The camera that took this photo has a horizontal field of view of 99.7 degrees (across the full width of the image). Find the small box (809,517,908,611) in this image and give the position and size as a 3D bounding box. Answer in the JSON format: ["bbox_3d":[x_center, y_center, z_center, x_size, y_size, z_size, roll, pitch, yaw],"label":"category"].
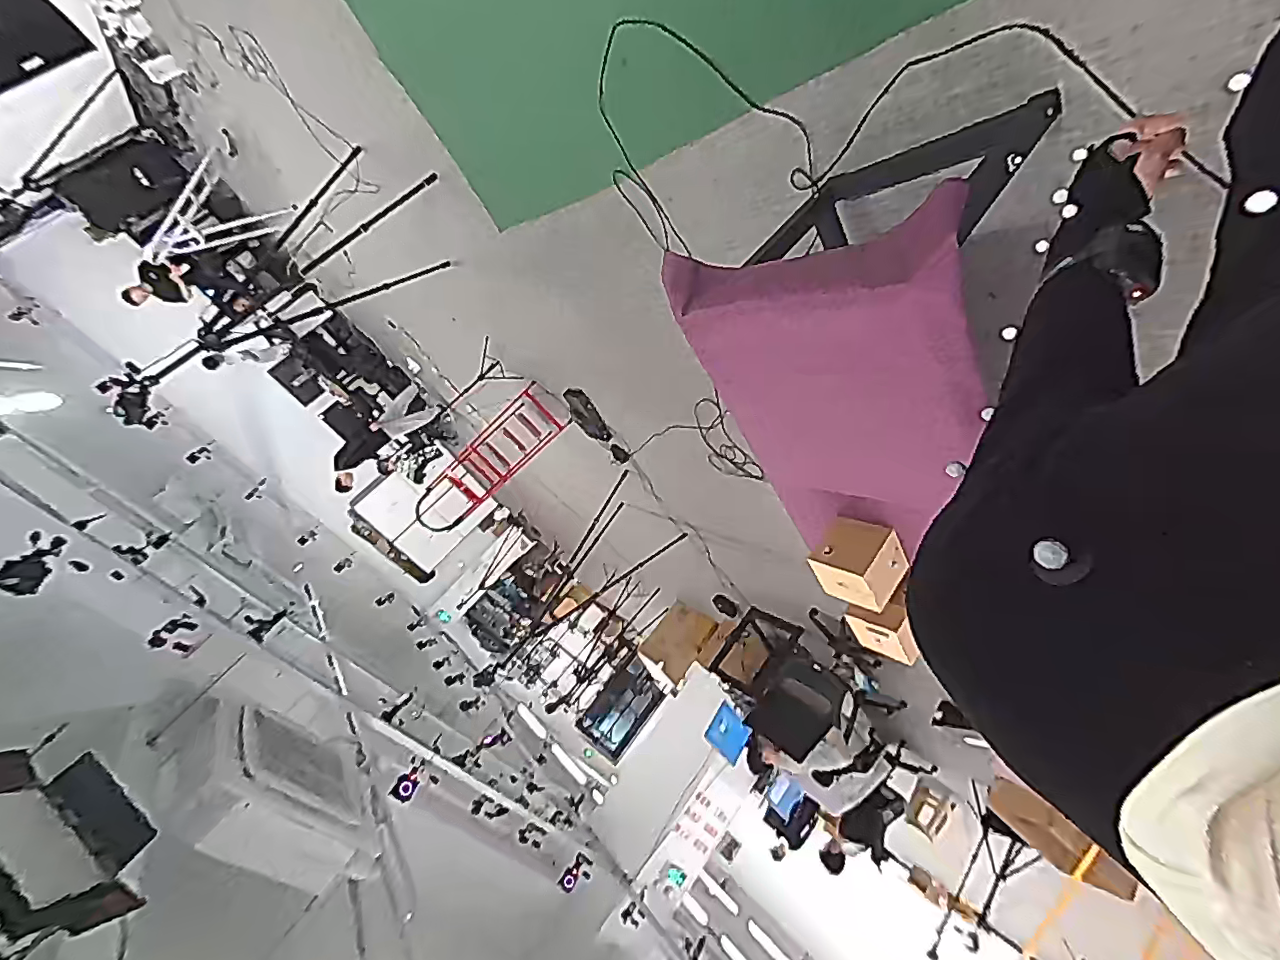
[{"bbox_3d":[0.608,0.224,1.499,0.179,0.176,0.168,14,147,51],"label":"small box"}]

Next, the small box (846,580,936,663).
[{"bbox_3d":[0.750,0.404,1.612,0.168,0.176,0.179,14,148,52],"label":"small box"}]
